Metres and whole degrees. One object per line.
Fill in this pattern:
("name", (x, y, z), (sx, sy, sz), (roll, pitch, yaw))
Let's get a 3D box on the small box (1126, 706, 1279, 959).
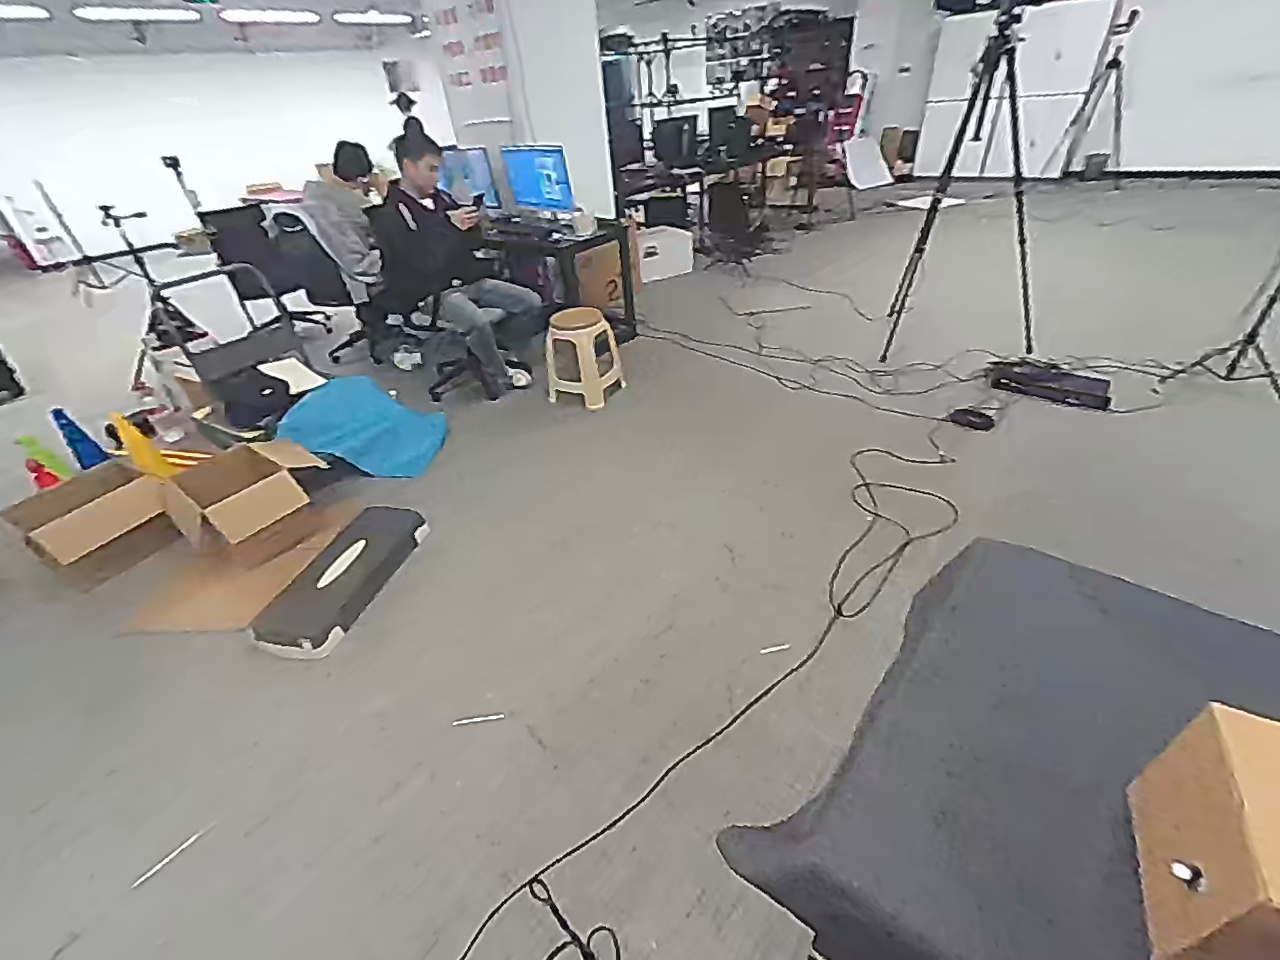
("small box", (0.550, 0.335, 0.446), (0.168, 0.176, 0.179), (16, 40, 24))
